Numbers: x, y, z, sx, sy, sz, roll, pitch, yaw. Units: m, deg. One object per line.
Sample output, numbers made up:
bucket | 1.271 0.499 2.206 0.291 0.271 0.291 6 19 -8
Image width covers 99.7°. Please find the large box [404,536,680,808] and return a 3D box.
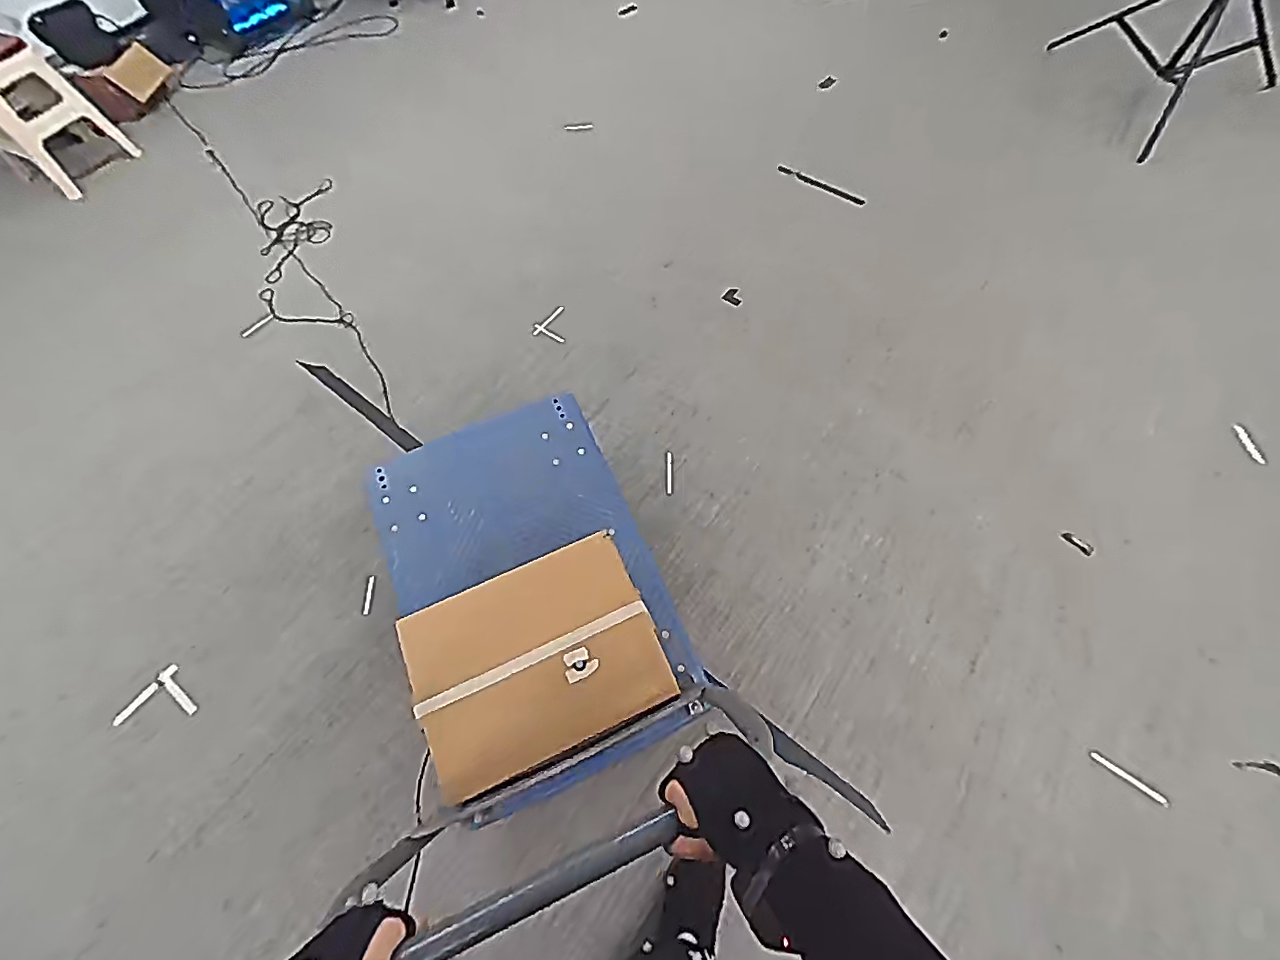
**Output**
large box | -0.174 0.369 1.065 0.408 0.320 0.320 -24 70 -10
